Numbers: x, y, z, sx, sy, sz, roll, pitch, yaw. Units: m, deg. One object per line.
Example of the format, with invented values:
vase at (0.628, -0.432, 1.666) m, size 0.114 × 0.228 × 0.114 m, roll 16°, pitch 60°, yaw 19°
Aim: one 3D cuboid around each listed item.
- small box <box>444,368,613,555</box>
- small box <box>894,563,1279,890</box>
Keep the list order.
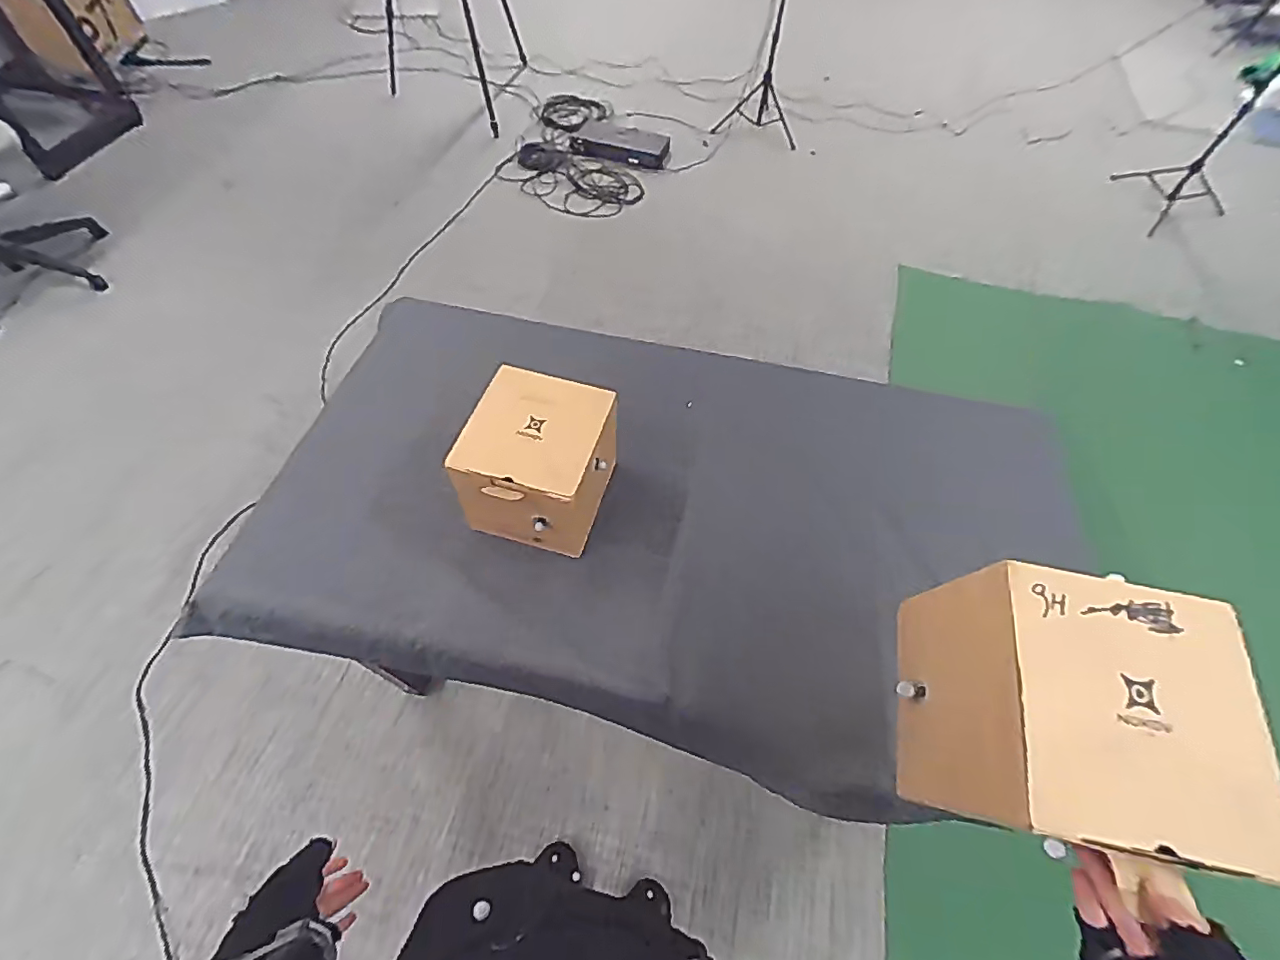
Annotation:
small box at (-0.138, -0.019, 0.746) m, size 0.168 × 0.176 × 0.179 m, roll 15°, pitch 57°, yaw 5°
small box at (0.324, 0.184, 0.434) m, size 0.168 × 0.176 × 0.179 m, roll 11°, pitch 67°, yaw 1°
